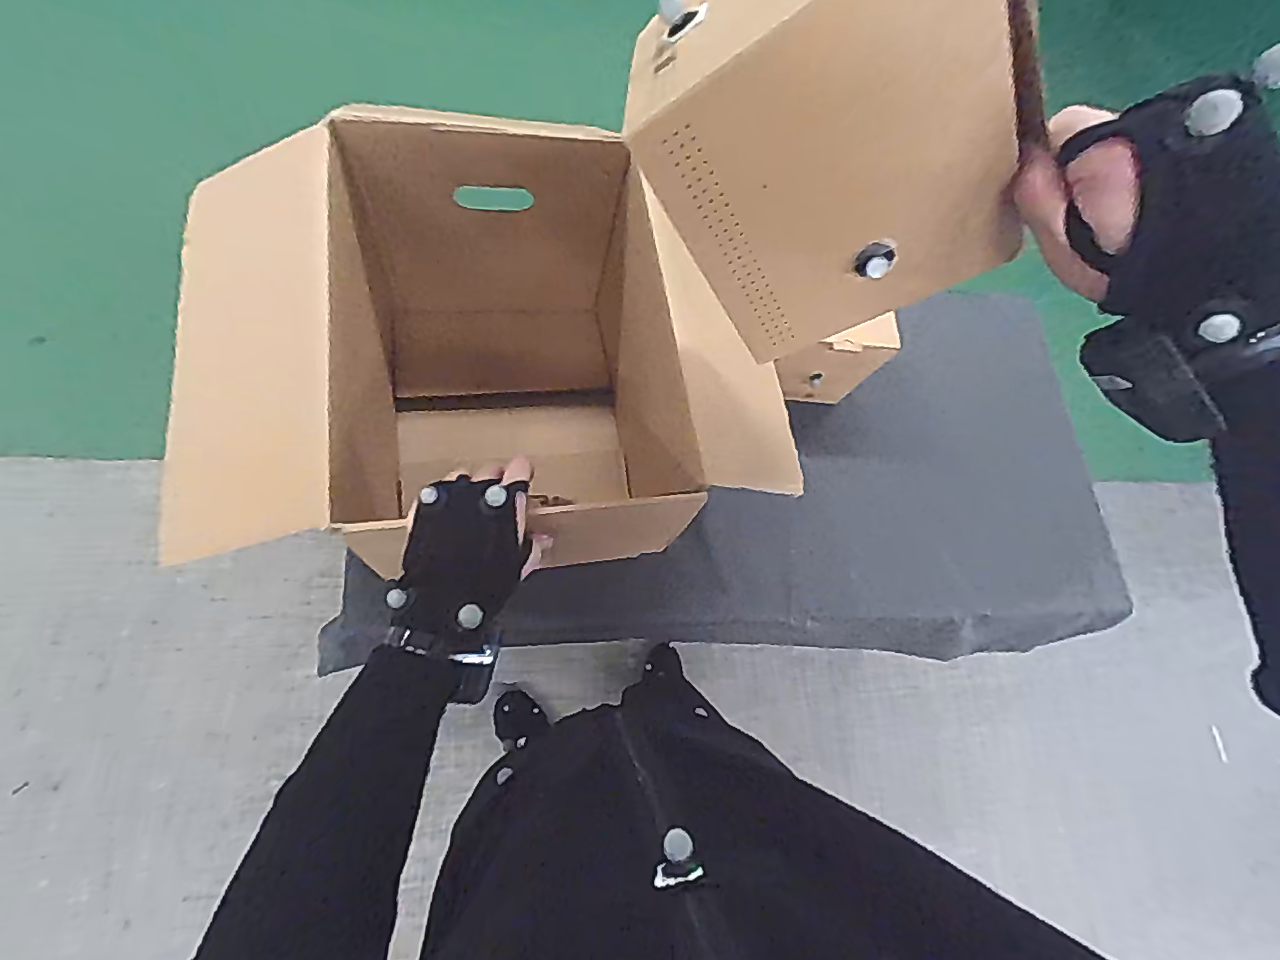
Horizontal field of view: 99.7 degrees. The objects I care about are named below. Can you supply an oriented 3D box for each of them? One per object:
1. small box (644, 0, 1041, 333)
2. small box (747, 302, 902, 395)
[{"bbox_3d":[0.121,-0.219,0.342,0.179,0.176,0.168,42,39,-41],"label":"small box"},{"bbox_3d":[0.279,-0.250,0.854,0.168,0.176,0.179,3,72,-12],"label":"small box"}]
